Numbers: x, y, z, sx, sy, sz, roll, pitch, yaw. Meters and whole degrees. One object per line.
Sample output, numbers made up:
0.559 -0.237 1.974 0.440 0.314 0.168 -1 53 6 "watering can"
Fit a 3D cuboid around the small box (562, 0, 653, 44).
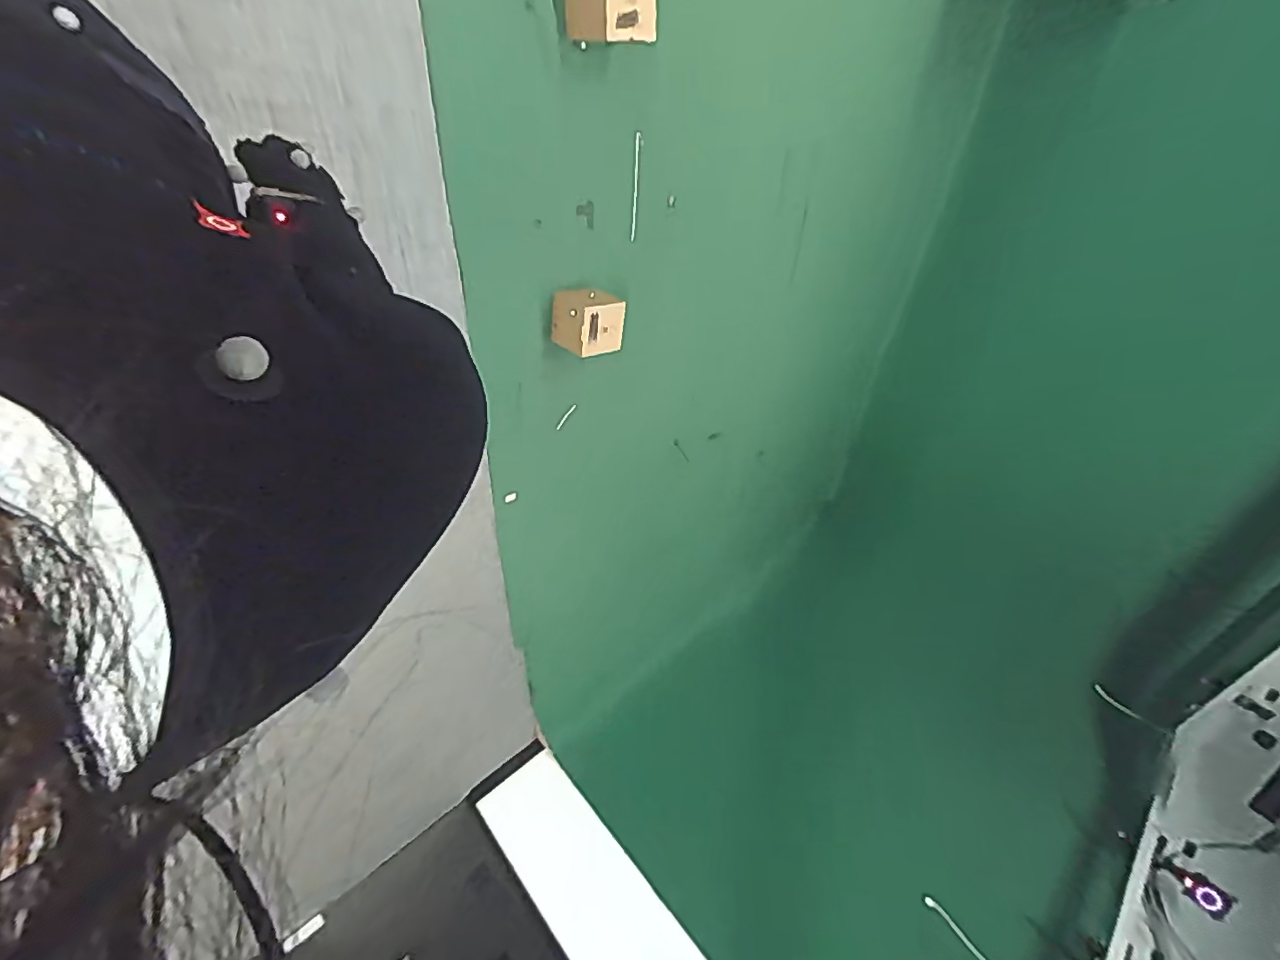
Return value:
-0.083 -1.203 1.348 0.168 0.176 0.179 -30 137 -32 "small box"
